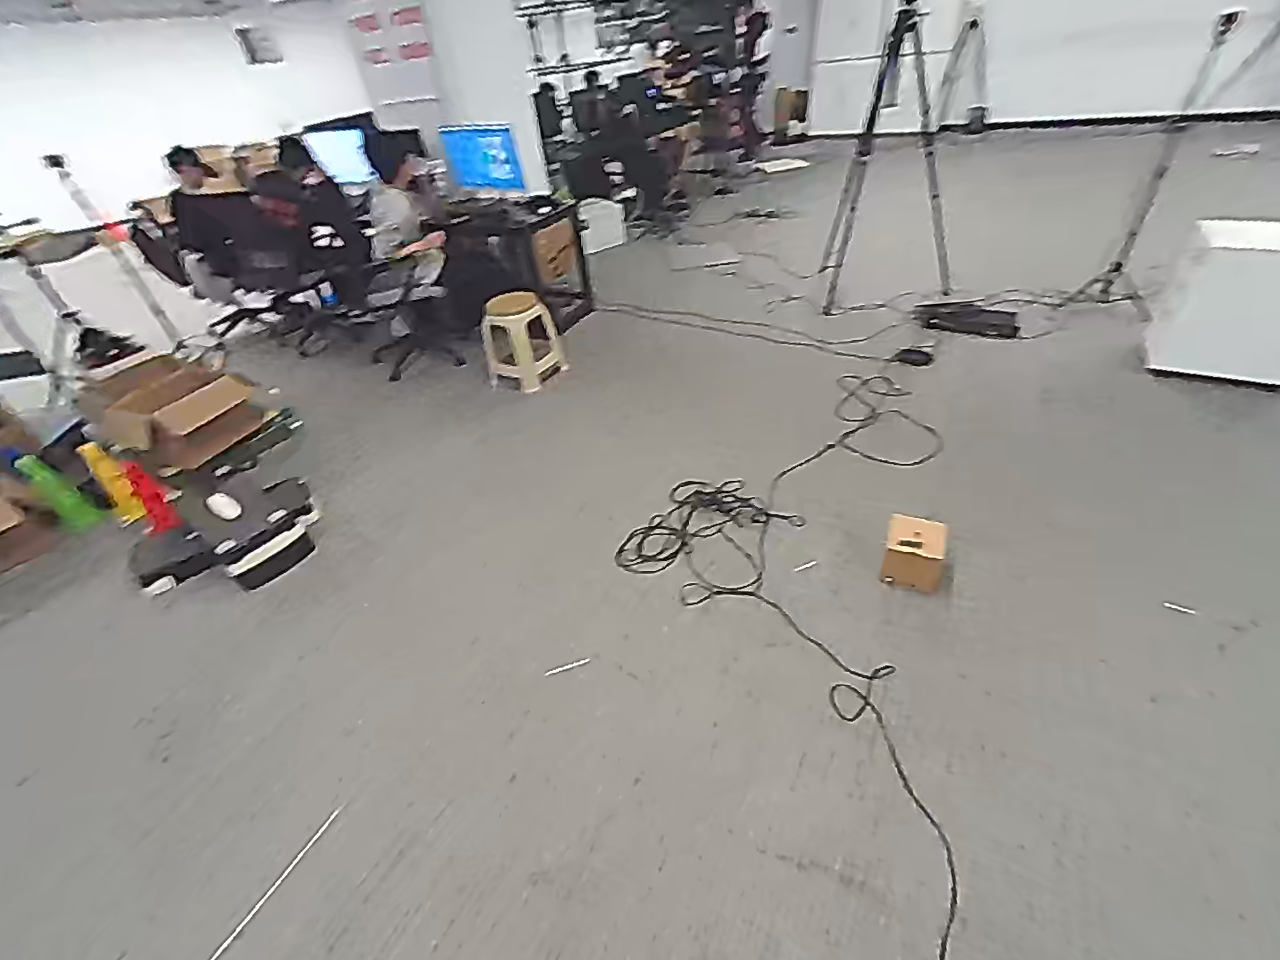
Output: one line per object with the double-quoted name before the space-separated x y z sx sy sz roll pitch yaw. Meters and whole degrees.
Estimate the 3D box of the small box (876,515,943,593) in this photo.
"small box" 0.900 0.250 1.810 0.168 0.176 0.179 13 43 23
